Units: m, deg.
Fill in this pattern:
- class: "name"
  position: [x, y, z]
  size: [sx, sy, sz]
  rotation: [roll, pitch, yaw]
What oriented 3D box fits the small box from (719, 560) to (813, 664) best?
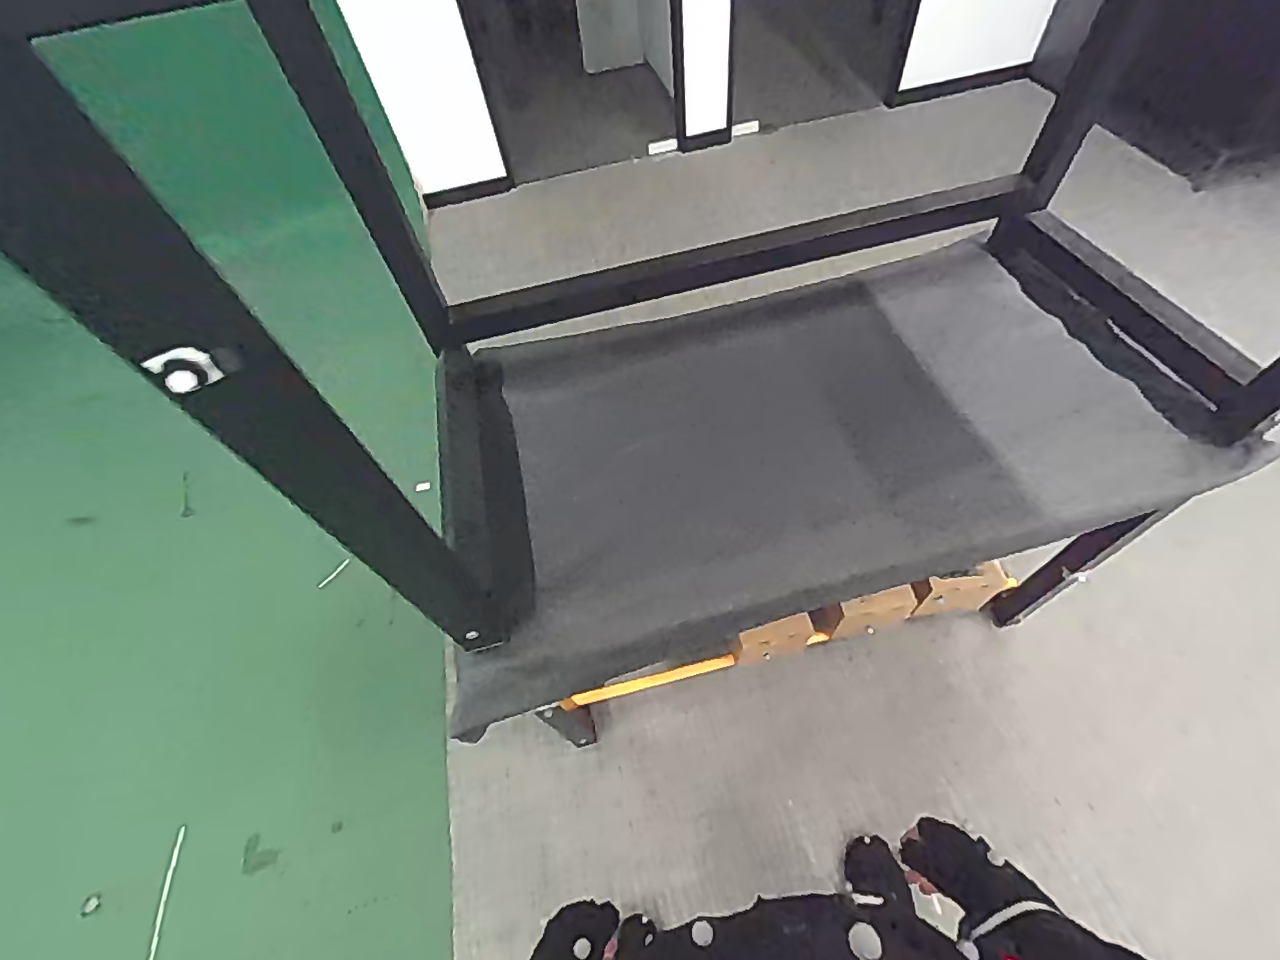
- class: "small box"
  position: [0.287, 0.315, 1.281]
  size: [0.168, 0.176, 0.179]
  rotation: [-12, 58, -2]
